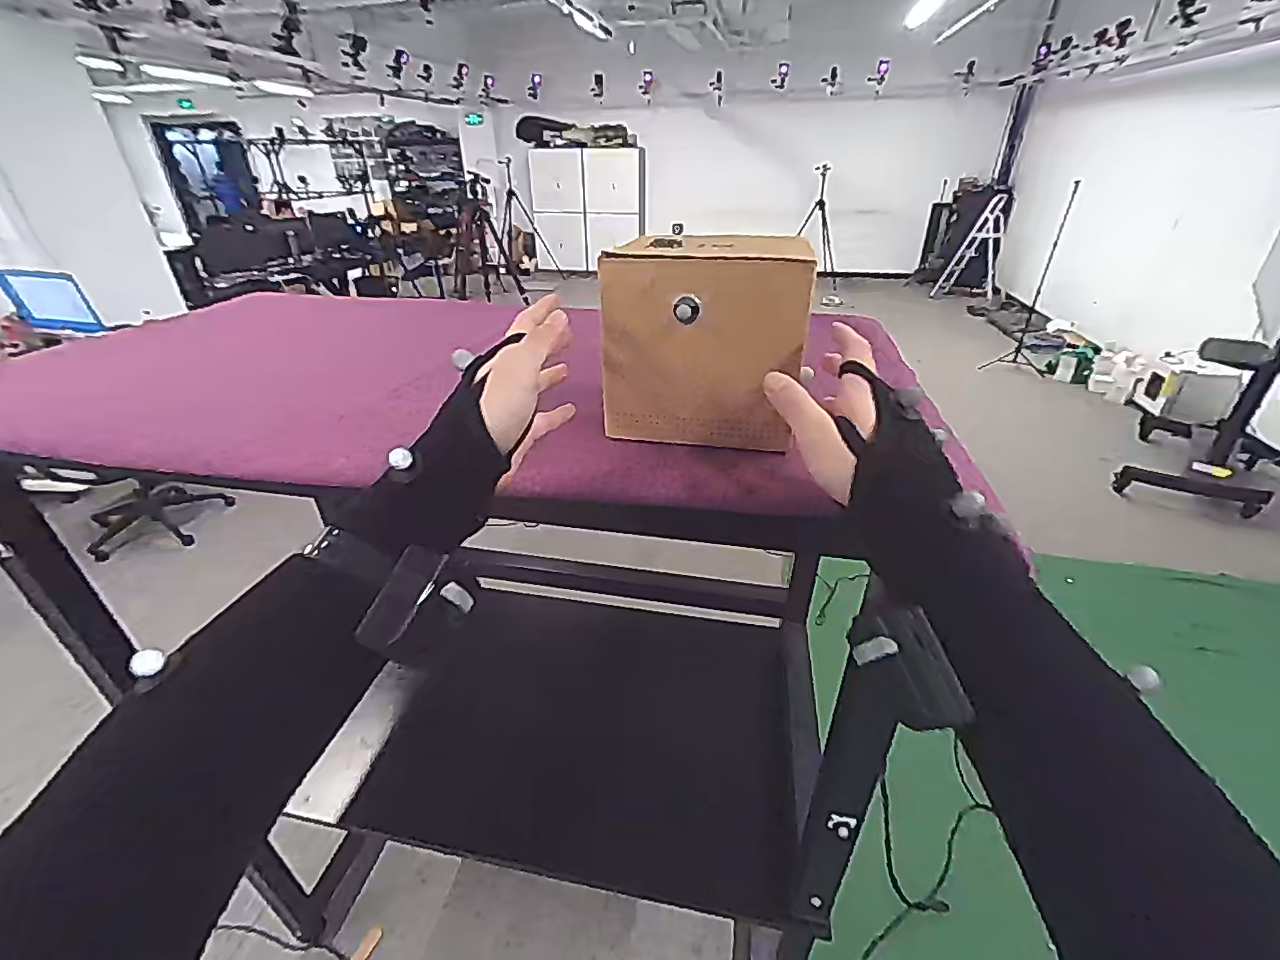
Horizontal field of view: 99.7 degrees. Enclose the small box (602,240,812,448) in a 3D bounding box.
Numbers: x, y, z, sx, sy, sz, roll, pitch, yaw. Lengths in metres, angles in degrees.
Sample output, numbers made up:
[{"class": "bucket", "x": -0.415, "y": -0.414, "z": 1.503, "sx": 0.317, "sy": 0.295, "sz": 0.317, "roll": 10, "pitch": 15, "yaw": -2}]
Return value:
[{"class": "small box", "x": 0.069, "y": -0.143, "z": 0.546, "sx": 0.179, "sy": 0.176, "sz": 0.168, "roll": 6, "pitch": 30, "yaw": 10}]
